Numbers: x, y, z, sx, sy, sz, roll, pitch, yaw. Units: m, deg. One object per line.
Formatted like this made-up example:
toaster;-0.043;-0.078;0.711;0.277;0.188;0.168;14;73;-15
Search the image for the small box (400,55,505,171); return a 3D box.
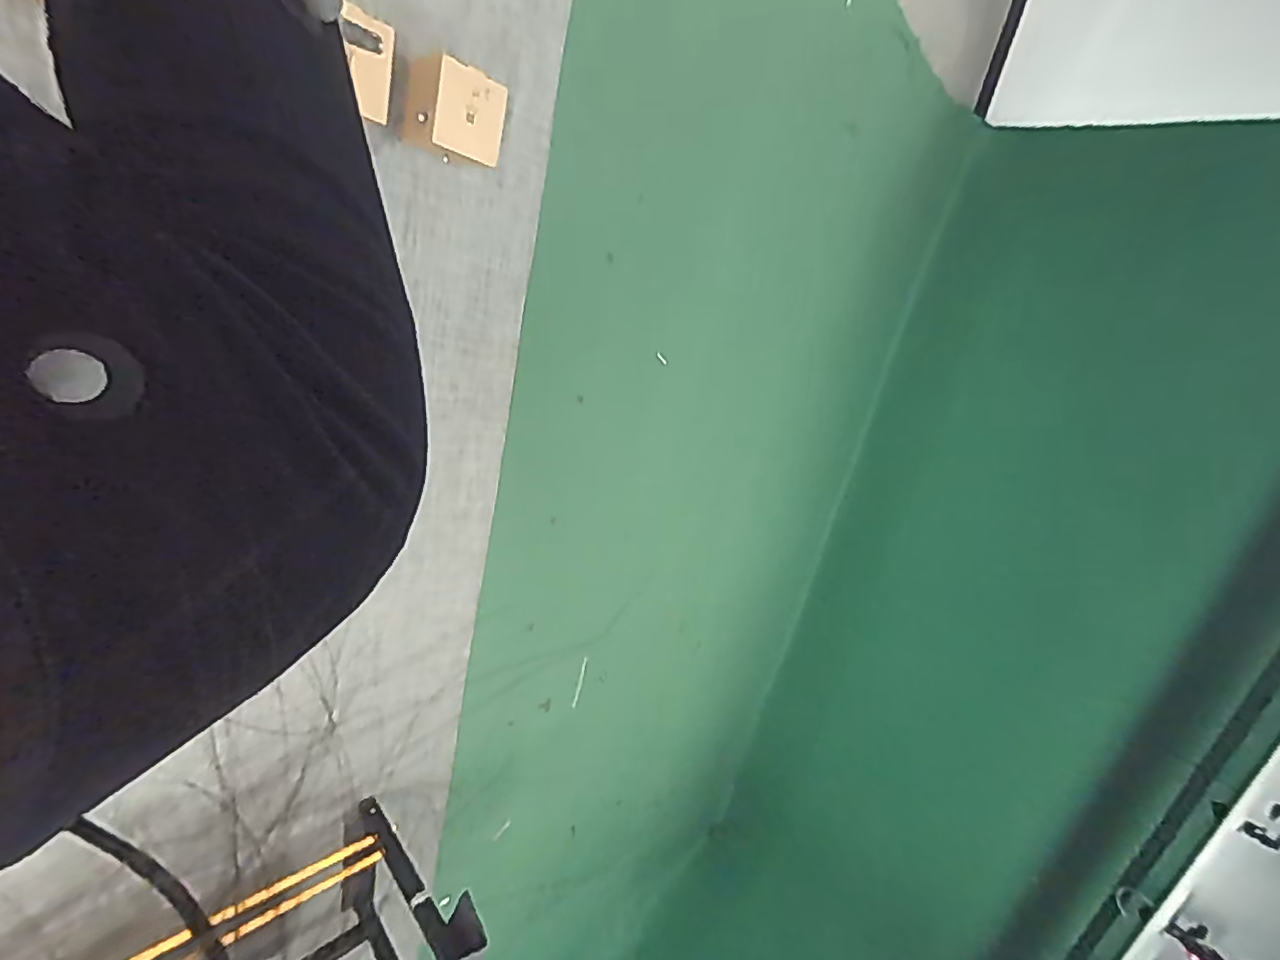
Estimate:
small box;-0.445;-0.853;1.272;0.168;0.176;0.179;-5;115;-48
